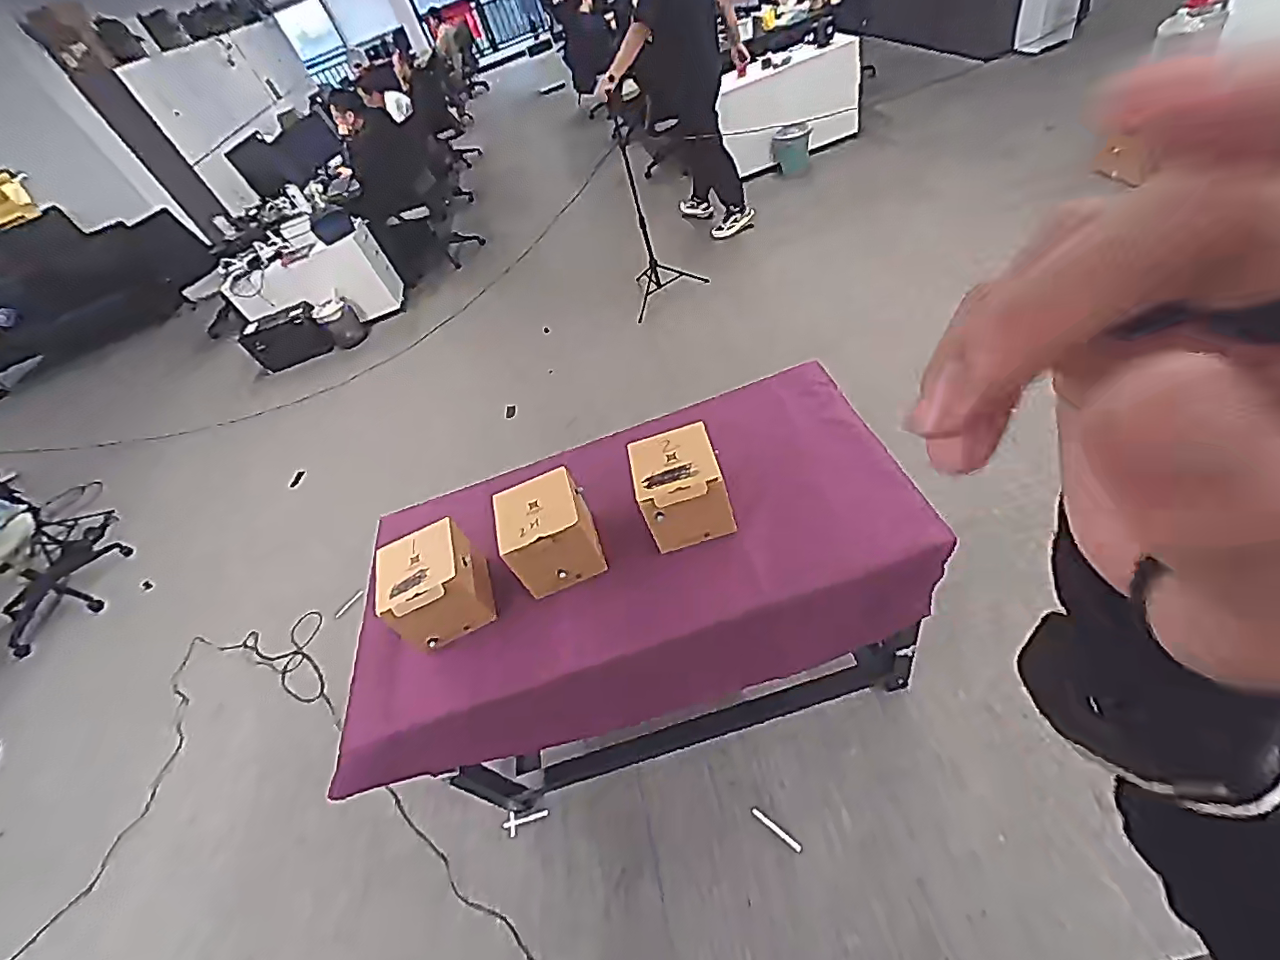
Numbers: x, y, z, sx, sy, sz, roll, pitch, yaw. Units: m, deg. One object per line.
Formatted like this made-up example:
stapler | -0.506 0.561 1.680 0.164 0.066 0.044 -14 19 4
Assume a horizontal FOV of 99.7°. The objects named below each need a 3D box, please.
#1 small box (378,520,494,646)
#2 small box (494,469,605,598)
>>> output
small box | -0.422 0.223 1.129 0.168 0.176 0.179 -25 44 -3
small box | -0.190 0.114 1.139 0.168 0.176 0.179 -23 45 0
